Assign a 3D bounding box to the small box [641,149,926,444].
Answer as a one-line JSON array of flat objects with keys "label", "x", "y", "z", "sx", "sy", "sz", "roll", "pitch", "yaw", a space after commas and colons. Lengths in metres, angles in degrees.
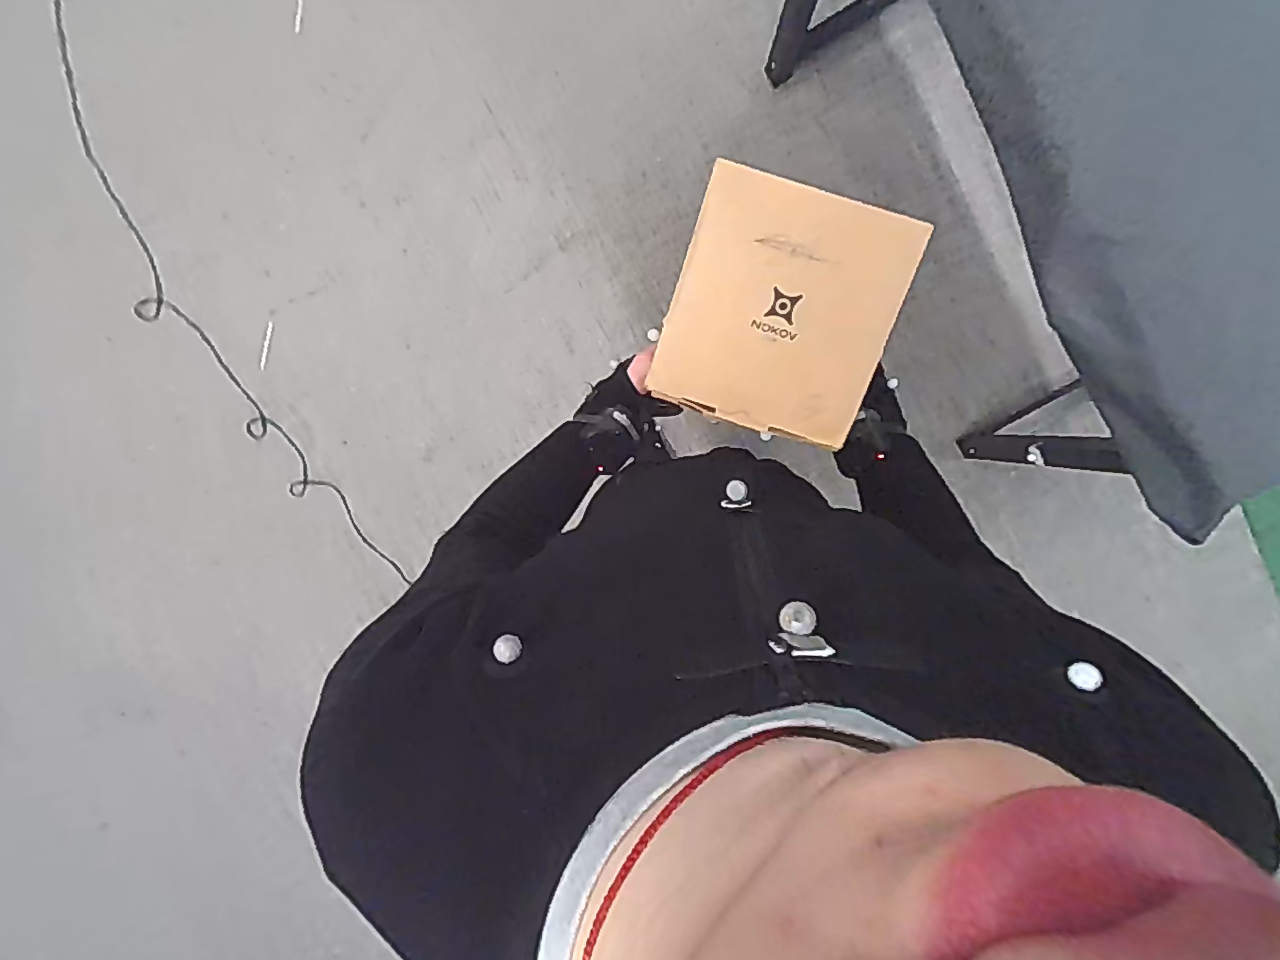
[{"label": "small box", "x": 0.110, "y": -0.150, "z": 0.484, "sx": 0.168, "sy": 0.176, "sz": 0.179, "roll": 19, "pitch": 103, "yaw": 0}]
